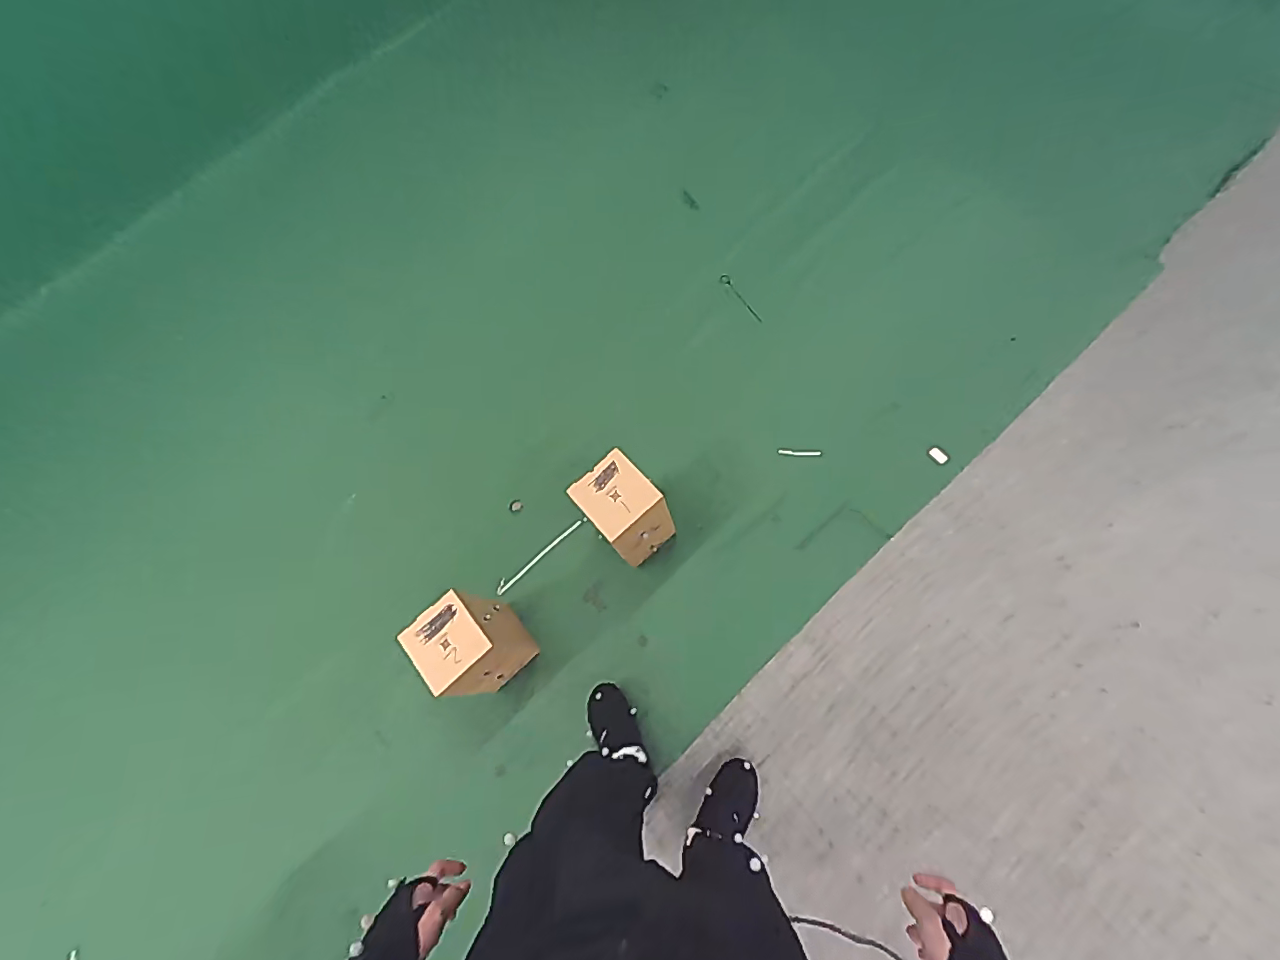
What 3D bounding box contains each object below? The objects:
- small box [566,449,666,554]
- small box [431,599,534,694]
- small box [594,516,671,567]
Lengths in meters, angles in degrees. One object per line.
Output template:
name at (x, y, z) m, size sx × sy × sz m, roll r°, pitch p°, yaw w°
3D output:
small box at (-0.054, 0.060, 1.346) m, size 0.168 × 0.176 × 0.179 m, roll -41°, pitch 70°, yaw -7°
small box at (-0.411, 0.443, 1.441) m, size 0.168 × 0.176 × 0.179 m, roll -42°, pitch 69°, yaw -7°
small box at (-0.033, 0.117, 1.499) m, size 0.168 × 0.176 × 0.179 m, roll -40°, pitch 70°, yaw -7°
